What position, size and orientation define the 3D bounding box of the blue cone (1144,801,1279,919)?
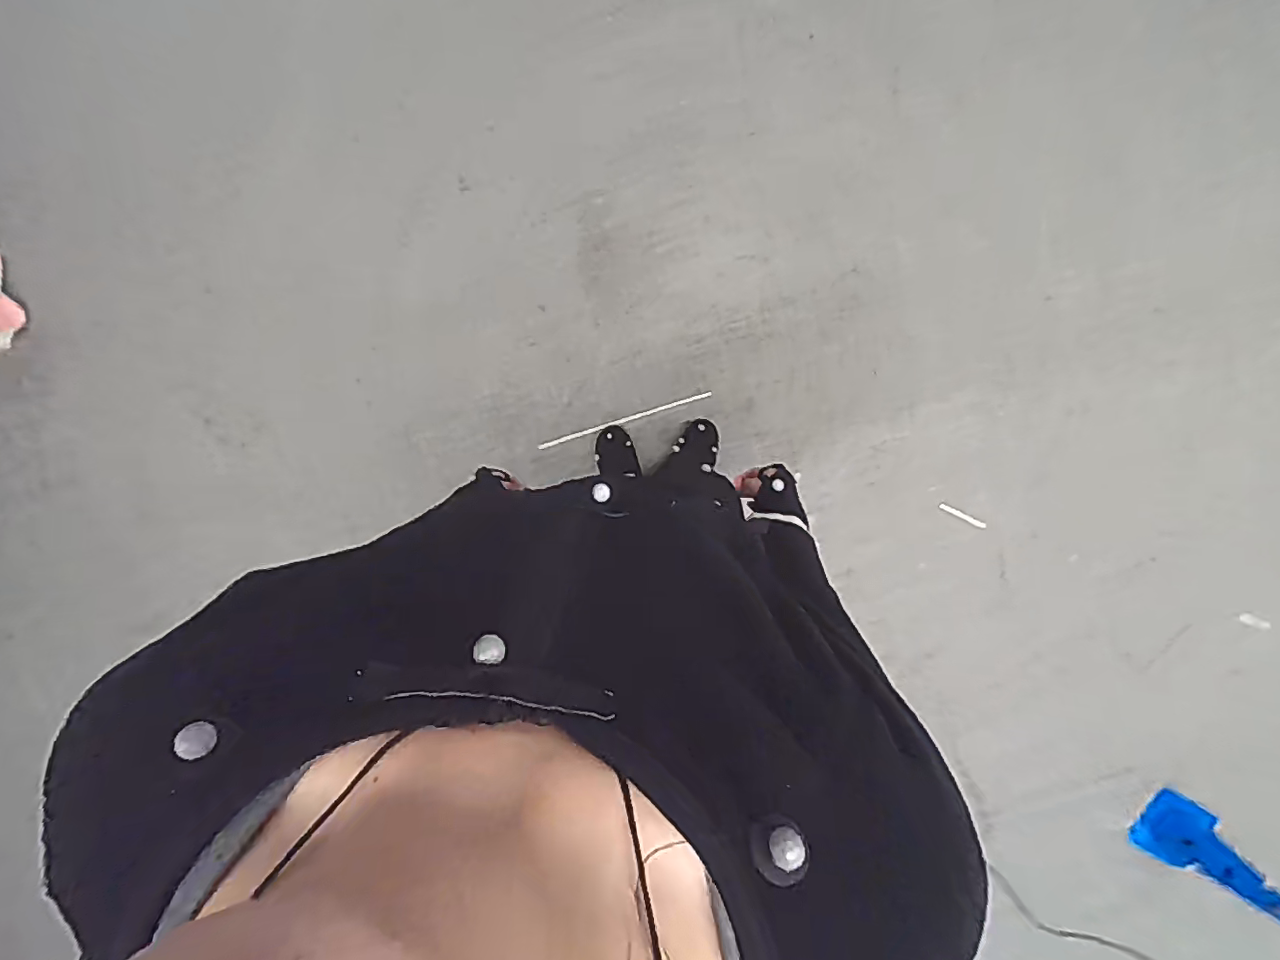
[{"bbox_3d":[1.558,1.040,1.389,0.192,0.380,0.193,28,94,-1],"label":"blue cone"}]
